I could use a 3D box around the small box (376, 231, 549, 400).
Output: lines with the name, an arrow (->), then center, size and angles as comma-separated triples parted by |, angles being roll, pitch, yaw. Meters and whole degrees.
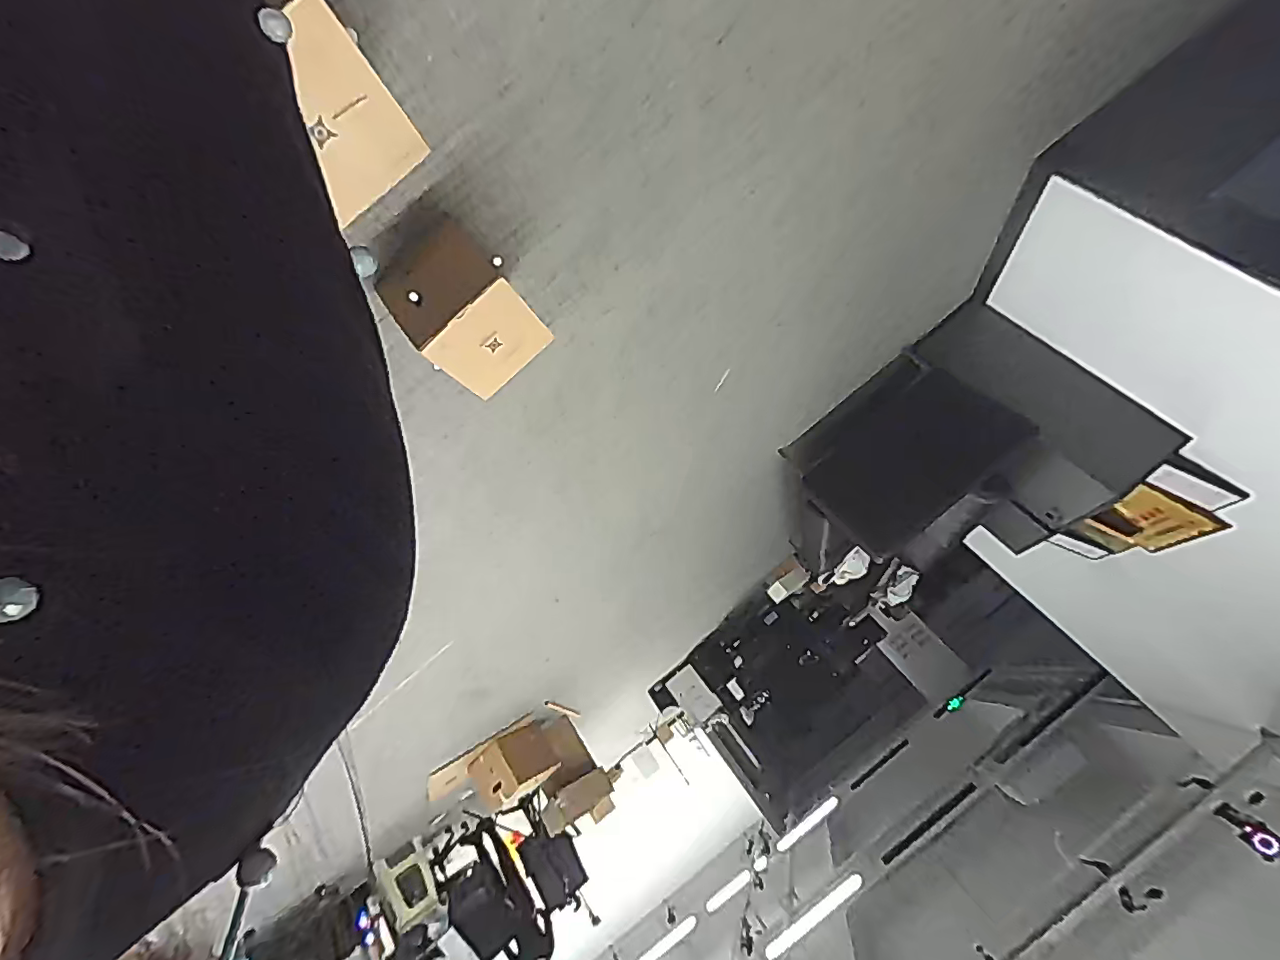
small box -> -0.287, -0.270, 0.878 | 0.168, 0.176, 0.179 | -40, 156, 3
